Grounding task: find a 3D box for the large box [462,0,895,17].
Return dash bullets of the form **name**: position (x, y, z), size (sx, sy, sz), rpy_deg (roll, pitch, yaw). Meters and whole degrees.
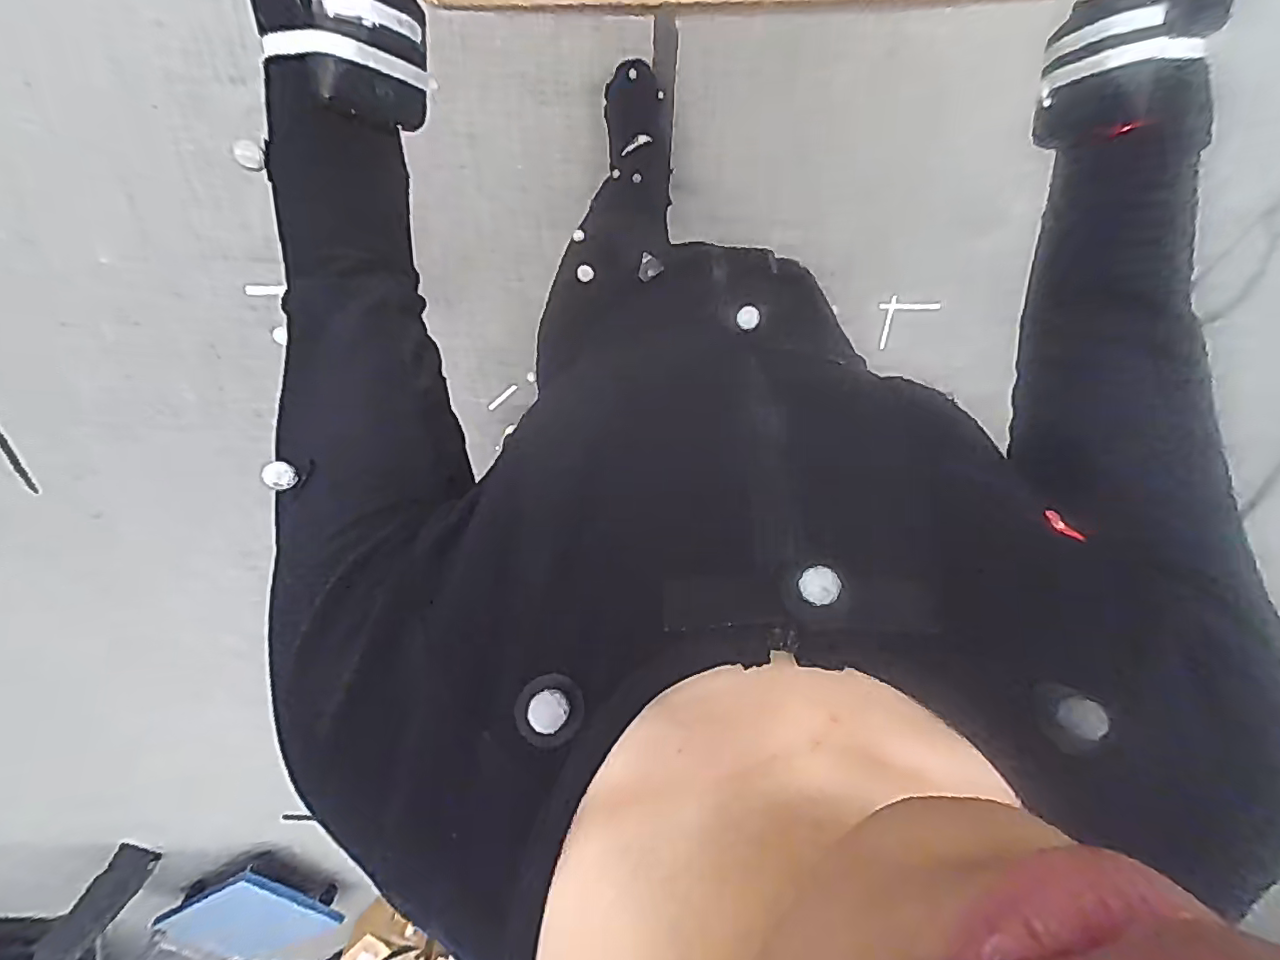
- **large box**: position (0.065, -0.524, 0.360), size (0.408, 0.320, 0.320), rpy_deg (0, 130, 2)
